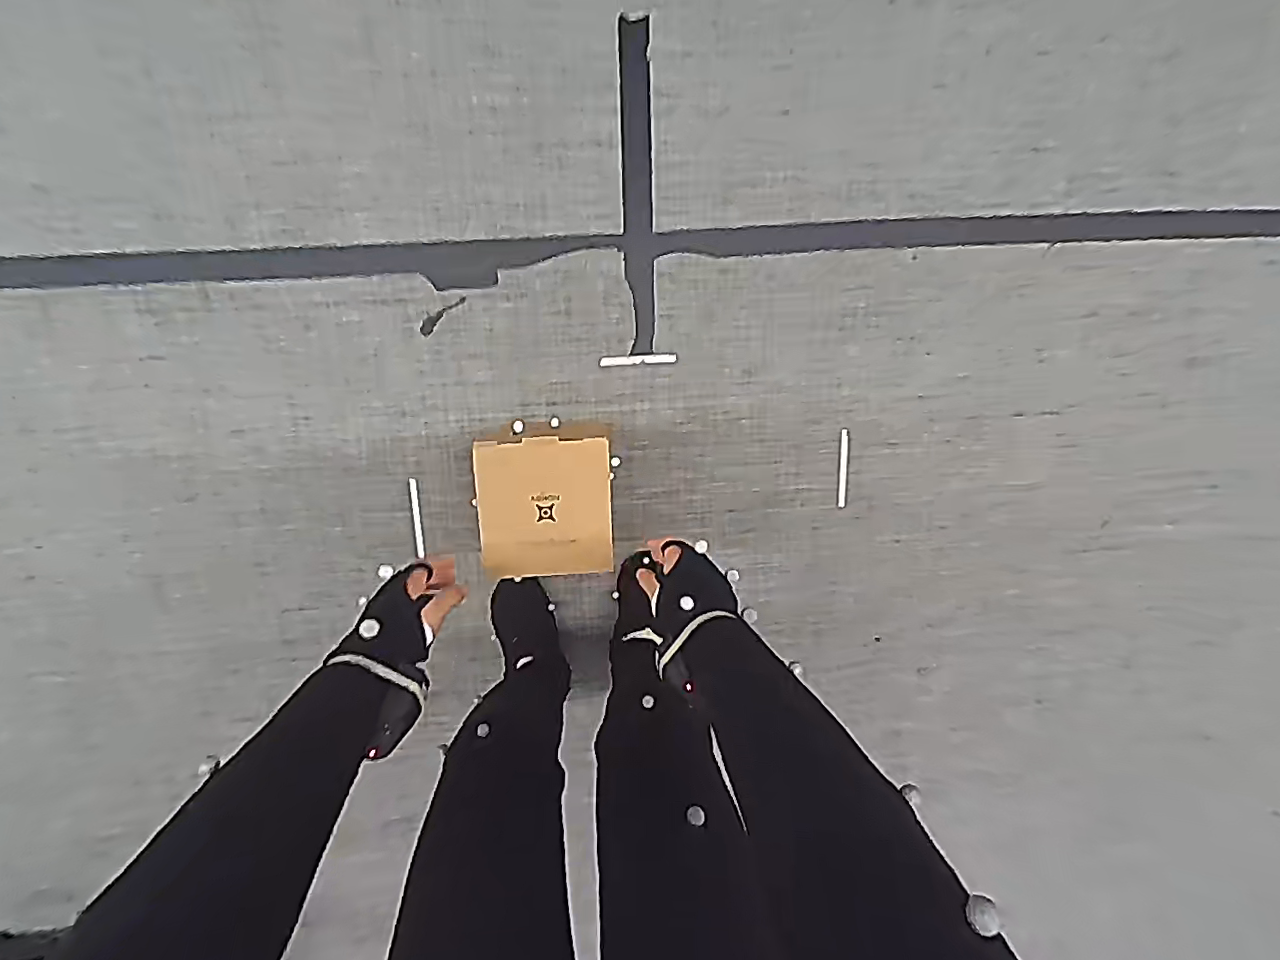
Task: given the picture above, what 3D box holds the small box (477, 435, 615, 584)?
[{"bbox_3d":[-0.124,0.030,0.759,0.168,0.176,0.179,-3,102,-4],"label":"small box"}]
